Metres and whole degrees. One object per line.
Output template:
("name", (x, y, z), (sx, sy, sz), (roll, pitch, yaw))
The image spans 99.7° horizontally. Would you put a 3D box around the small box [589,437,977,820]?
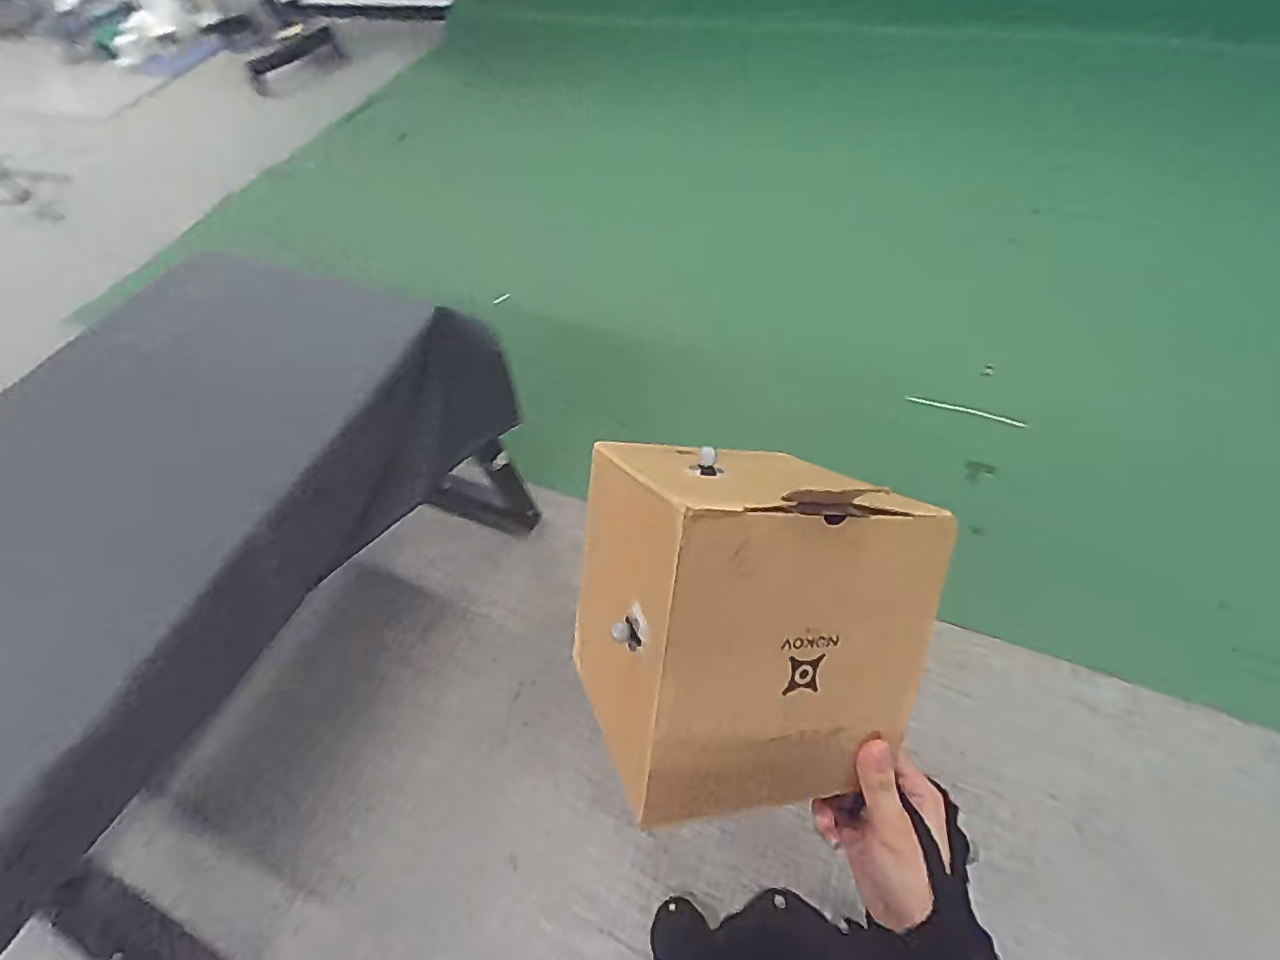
("small box", (0.069, 0.073, 0.354), (0.168, 0.179, 0.176), (3, 14, -19))
